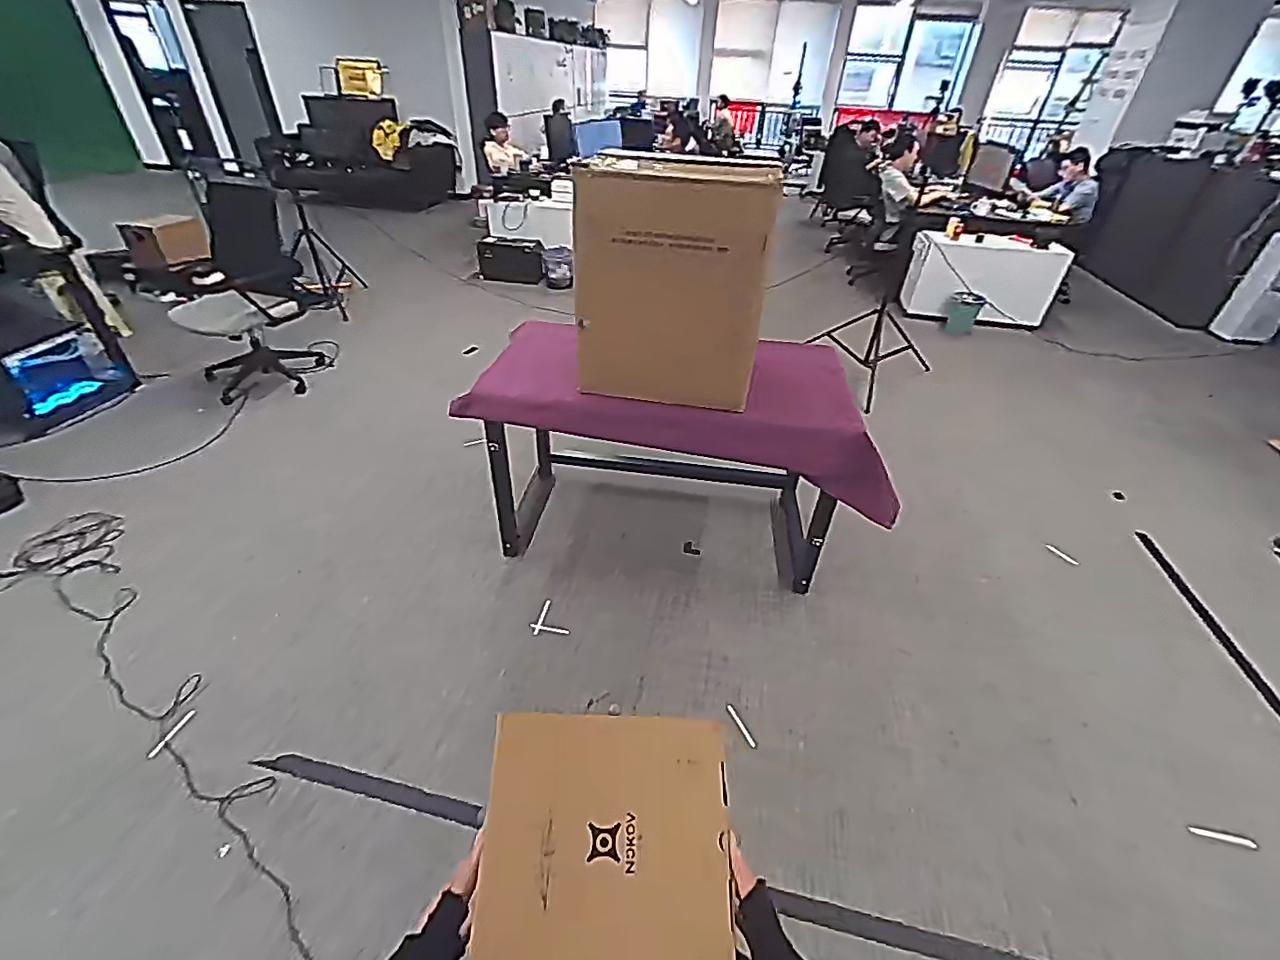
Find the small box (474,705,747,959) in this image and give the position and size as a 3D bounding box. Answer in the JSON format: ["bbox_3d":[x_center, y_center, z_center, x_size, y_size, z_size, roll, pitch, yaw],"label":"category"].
[{"bbox_3d":[-0.029,0.286,0.442,0.179,0.176,0.168,3,57,-7],"label":"small box"}]
